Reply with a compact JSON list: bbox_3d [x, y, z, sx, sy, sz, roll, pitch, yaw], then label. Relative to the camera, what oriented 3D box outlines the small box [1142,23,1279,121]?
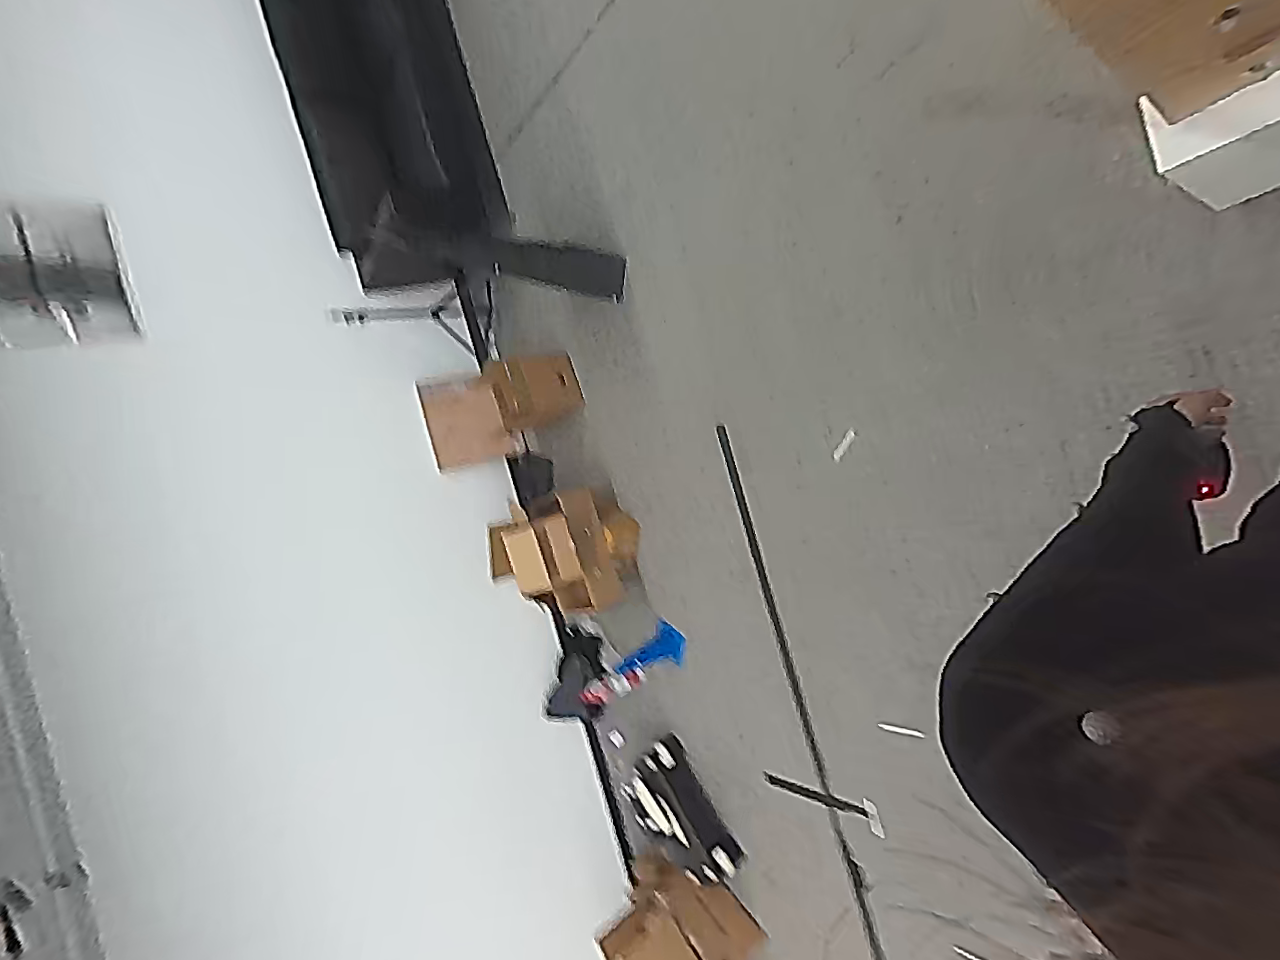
[{"bbox_3d":[0.644,-0.538,0.592,0.168,0.176,0.179,-17,88,54],"label":"small box"}]
